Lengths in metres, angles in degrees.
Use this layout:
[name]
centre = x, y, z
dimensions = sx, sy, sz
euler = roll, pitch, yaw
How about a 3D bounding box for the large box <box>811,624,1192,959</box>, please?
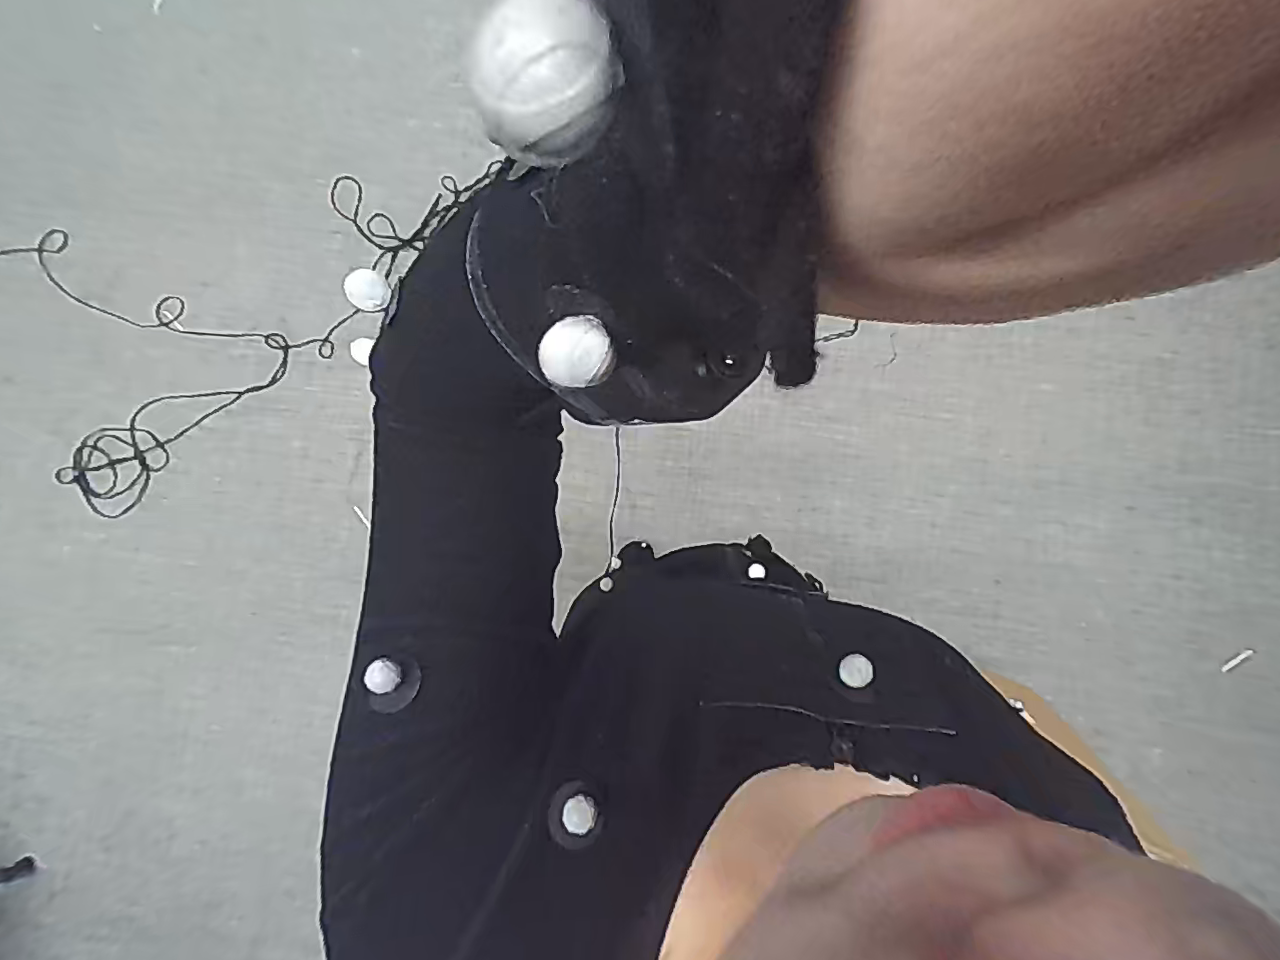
[large box]
centre = 0.504, 0.507, 0.879
dimensions = 0.320, 0.408, 0.320
euler = 23, 103, 7
